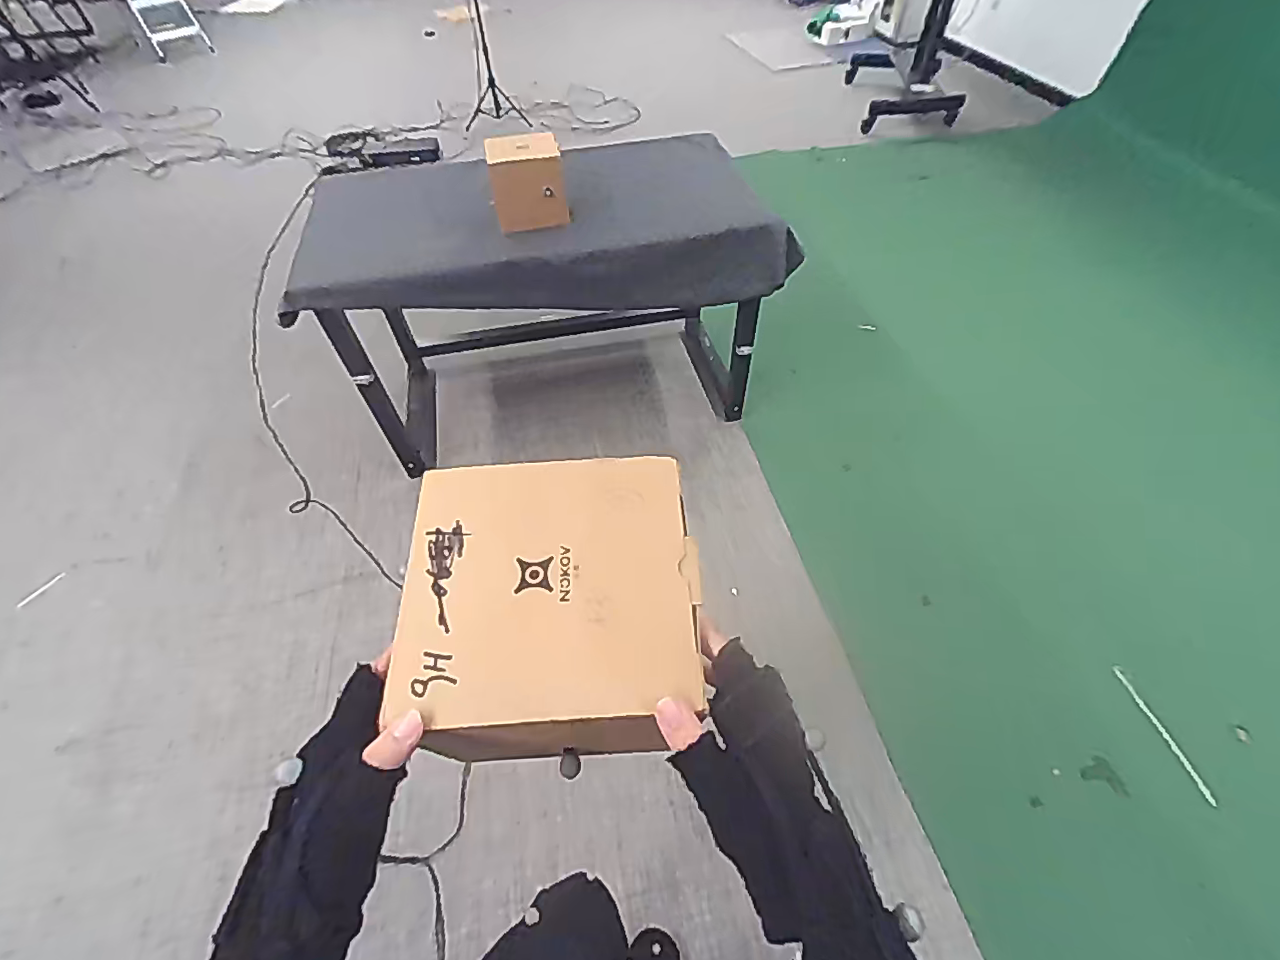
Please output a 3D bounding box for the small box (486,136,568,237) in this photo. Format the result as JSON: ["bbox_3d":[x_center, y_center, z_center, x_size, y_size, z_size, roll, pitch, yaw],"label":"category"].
[{"bbox_3d":[-0.284,-0.748,1.382,0.179,0.176,0.168,-12,51,-6],"label":"small box"}]
